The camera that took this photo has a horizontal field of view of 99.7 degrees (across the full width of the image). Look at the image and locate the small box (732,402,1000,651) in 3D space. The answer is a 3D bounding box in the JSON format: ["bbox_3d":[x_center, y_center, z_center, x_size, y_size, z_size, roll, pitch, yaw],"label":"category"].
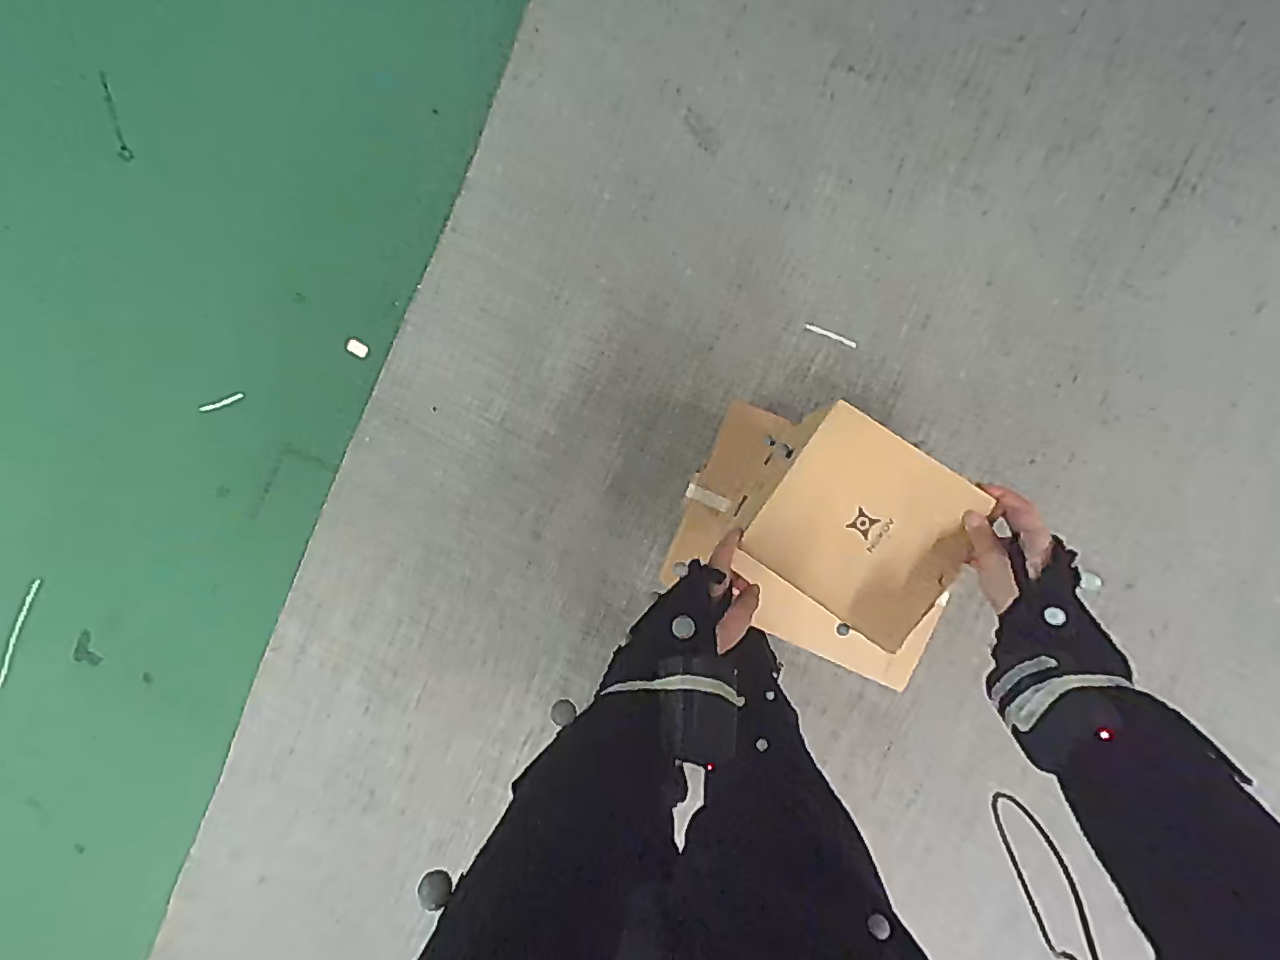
[{"bbox_3d":[0.212,0.042,0.569,0.179,0.176,0.168,35,95,4],"label":"small box"}]

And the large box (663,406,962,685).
[{"bbox_3d":[0.287,0.094,0.969,0.408,0.320,0.320,23,95,6],"label":"large box"}]
